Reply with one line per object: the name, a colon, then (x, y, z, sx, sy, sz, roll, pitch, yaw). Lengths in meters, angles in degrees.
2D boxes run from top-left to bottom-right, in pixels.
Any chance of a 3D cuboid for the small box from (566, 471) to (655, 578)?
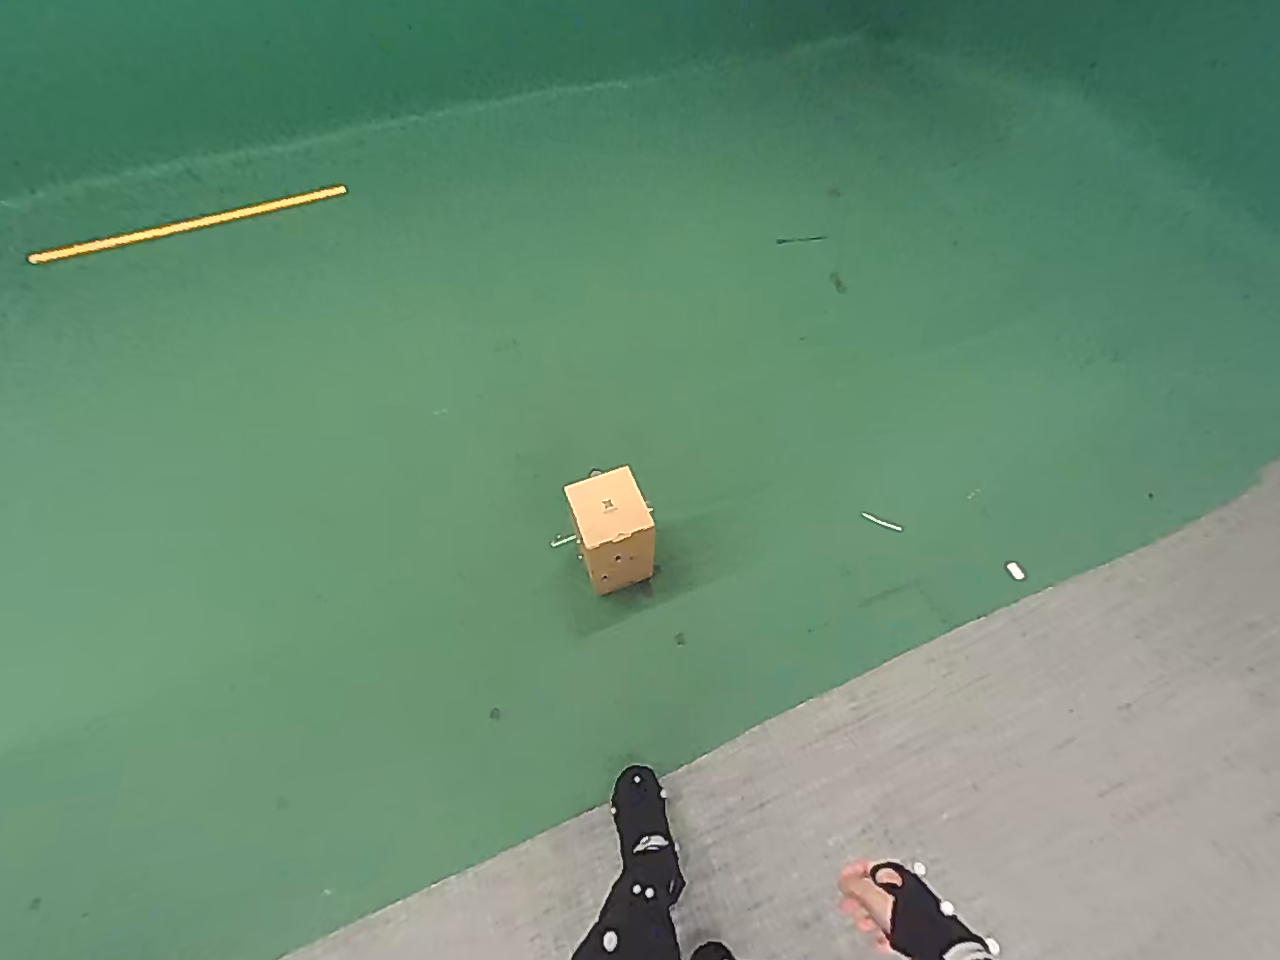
small box: (-0.073, 0.112, 1.319, 0.168, 0.176, 0.179, -19, 60, -11)
